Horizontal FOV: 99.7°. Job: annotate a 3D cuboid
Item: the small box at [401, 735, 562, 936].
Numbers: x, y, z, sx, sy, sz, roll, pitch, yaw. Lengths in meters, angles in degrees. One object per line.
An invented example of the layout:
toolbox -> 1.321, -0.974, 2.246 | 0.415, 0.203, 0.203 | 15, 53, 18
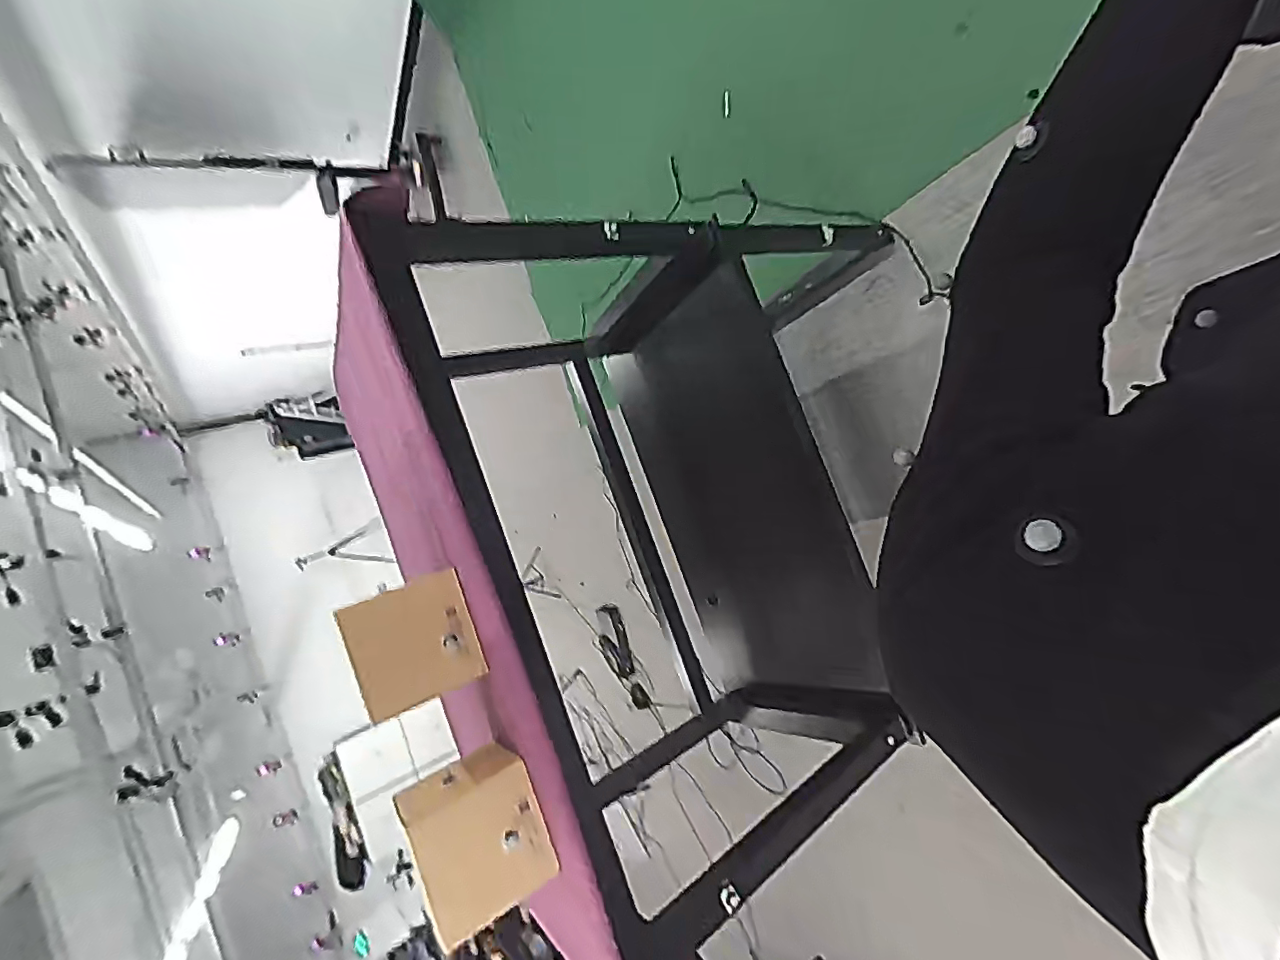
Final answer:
small box -> -0.237, 0.505, 0.804 | 0.179, 0.176, 0.168 | -28, 82, 57

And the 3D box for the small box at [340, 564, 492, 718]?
small box -> -0.348, 0.238, 0.841 | 0.179, 0.176, 0.168 | -21, 88, 57
